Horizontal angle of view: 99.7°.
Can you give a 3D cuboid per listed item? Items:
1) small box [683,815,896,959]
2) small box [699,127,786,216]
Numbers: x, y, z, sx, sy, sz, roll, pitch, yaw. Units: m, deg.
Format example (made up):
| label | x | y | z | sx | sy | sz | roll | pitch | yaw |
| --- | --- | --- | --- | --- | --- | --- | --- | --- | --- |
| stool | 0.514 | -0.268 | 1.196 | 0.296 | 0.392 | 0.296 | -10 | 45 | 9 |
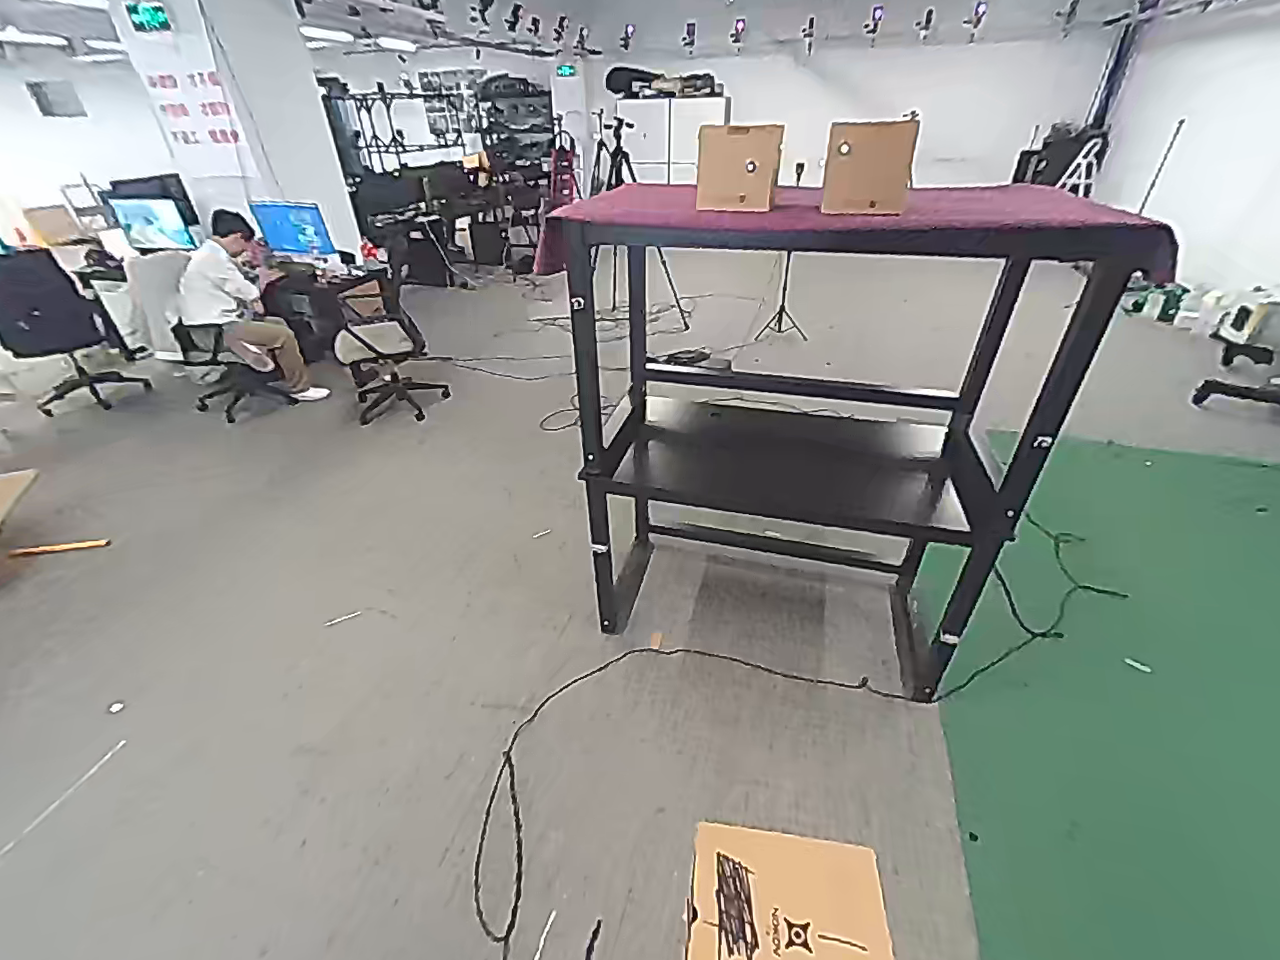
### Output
| label | x | y | z | sx | sy | sz | roll | pitch | yaw |
| --- | --- | --- | --- | --- | --- | --- | --- | --- | --- |
| small box | 0.133 | 0.456 | 0.510 | 0.179 | 0.176 | 0.168 | 3 | 30 | 10 |
| small box | 0.235 | -0.710 | 1.246 | 0.168 | 0.176 | 0.179 | 10 | 34 | 15 |
